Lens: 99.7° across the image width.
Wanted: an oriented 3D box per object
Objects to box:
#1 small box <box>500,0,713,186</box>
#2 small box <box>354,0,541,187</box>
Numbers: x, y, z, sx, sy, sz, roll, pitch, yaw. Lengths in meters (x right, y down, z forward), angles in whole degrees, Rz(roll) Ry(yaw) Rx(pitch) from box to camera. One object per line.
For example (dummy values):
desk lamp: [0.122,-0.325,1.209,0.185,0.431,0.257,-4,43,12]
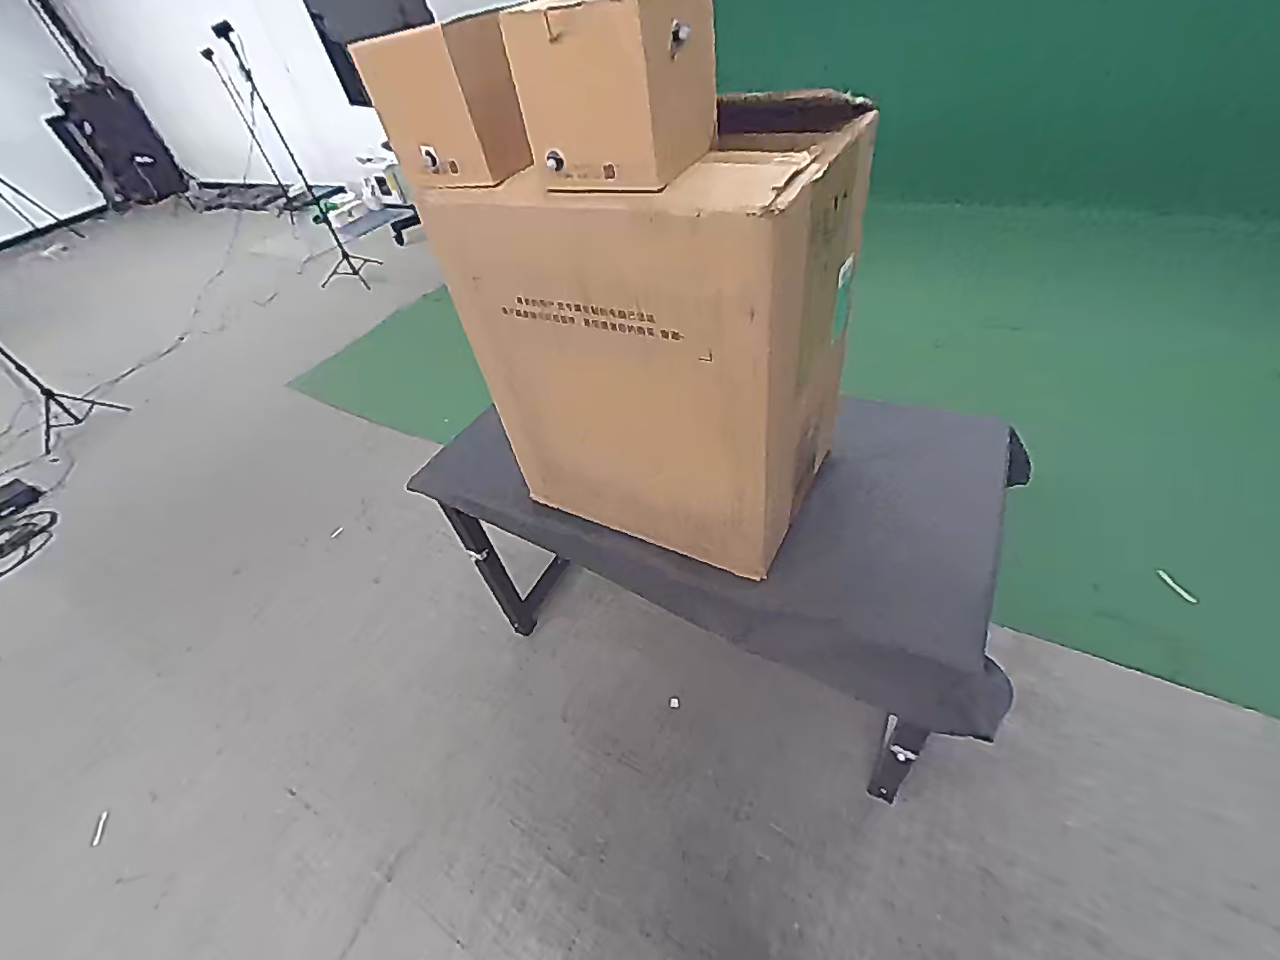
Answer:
small box: [-0.022,-0.452,0.617,0.168,0.176,0.179,16,50,25]
small box: [-0.231,-0.517,0.733,0.168,0.176,0.179,13,51,27]
